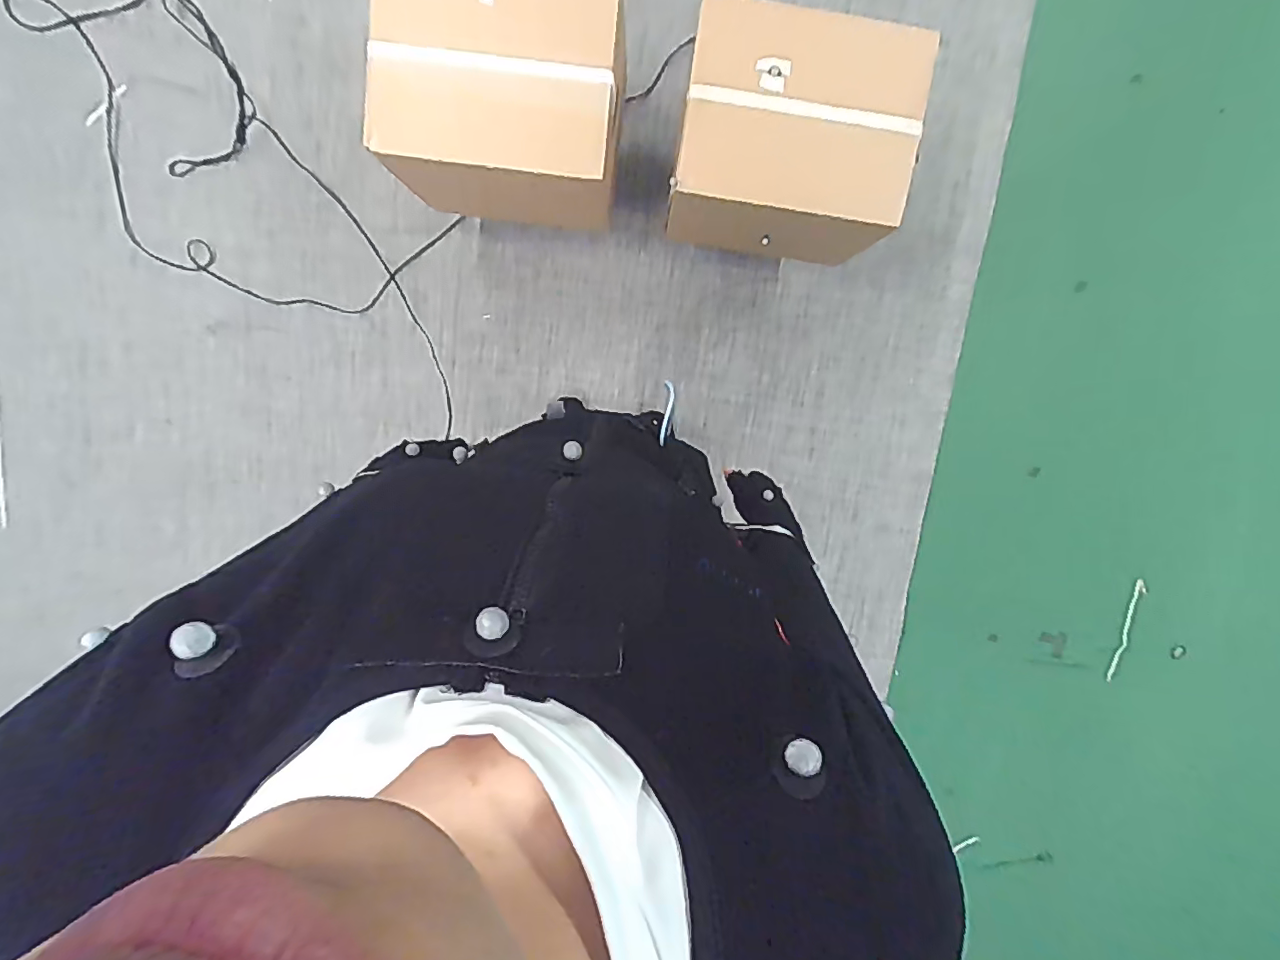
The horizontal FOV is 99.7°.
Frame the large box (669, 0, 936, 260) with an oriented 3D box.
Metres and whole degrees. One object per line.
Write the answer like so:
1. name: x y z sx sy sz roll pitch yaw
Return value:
1. large box: 0.285 -0.654 1.076 0.408 0.320 0.320 9 99 -2
